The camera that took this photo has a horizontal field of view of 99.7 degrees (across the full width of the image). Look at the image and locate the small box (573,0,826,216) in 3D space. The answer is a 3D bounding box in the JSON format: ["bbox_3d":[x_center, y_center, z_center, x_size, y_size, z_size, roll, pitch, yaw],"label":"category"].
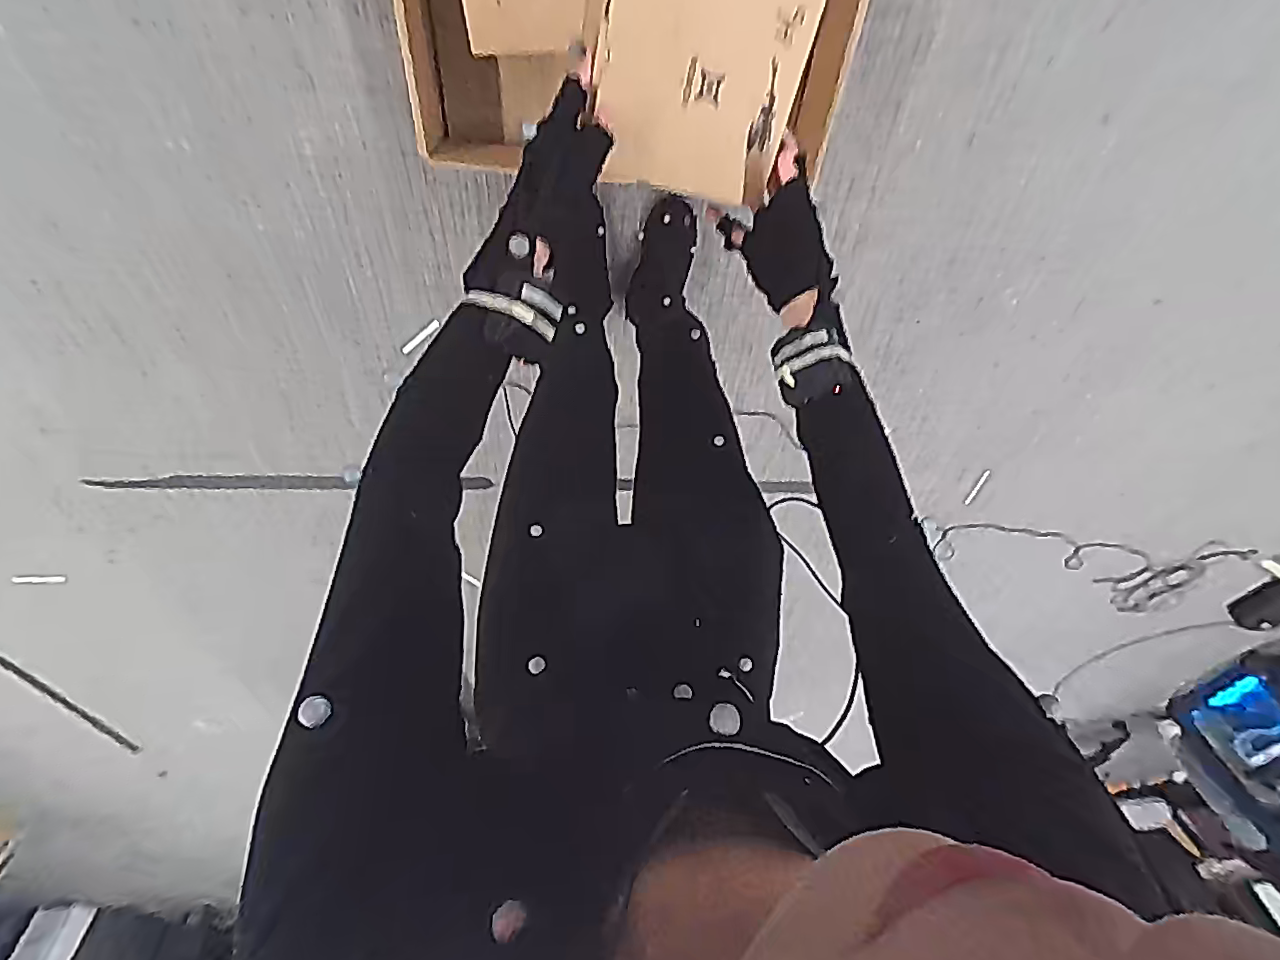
[{"bbox_3d":[0.035,-0.372,0.515,0.179,0.176,0.168,4,126,-16],"label":"small box"}]
